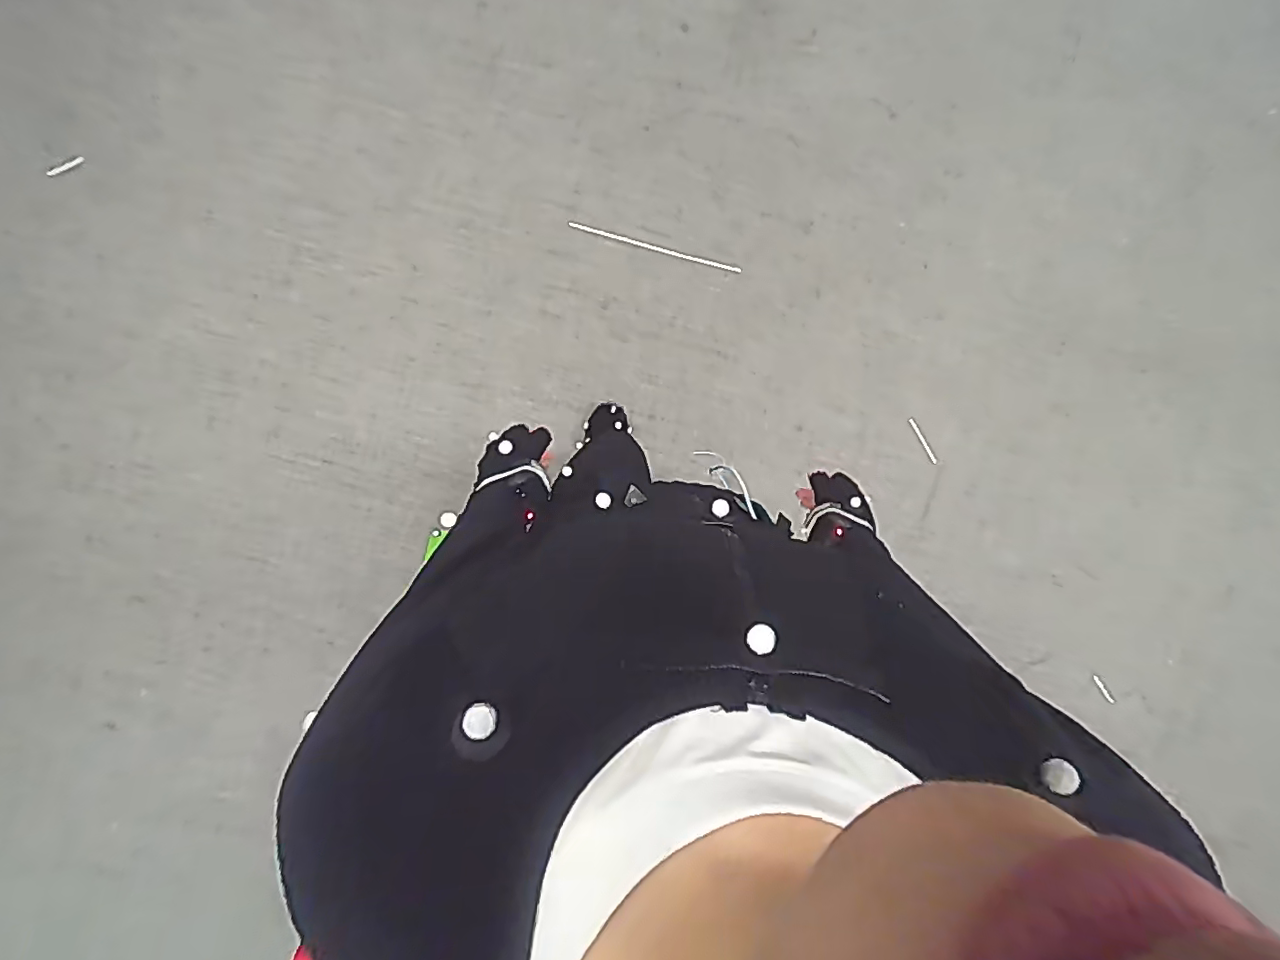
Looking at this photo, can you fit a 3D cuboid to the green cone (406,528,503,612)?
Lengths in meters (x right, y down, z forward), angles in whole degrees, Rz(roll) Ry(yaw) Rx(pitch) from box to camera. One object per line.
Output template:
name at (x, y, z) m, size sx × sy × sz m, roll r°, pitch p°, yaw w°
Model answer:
green cone at (-0.479, 0.251, 1.296) m, size 0.202 × 0.368 × 0.200 m, roll 14°, pitch 92°, yaw -3°
